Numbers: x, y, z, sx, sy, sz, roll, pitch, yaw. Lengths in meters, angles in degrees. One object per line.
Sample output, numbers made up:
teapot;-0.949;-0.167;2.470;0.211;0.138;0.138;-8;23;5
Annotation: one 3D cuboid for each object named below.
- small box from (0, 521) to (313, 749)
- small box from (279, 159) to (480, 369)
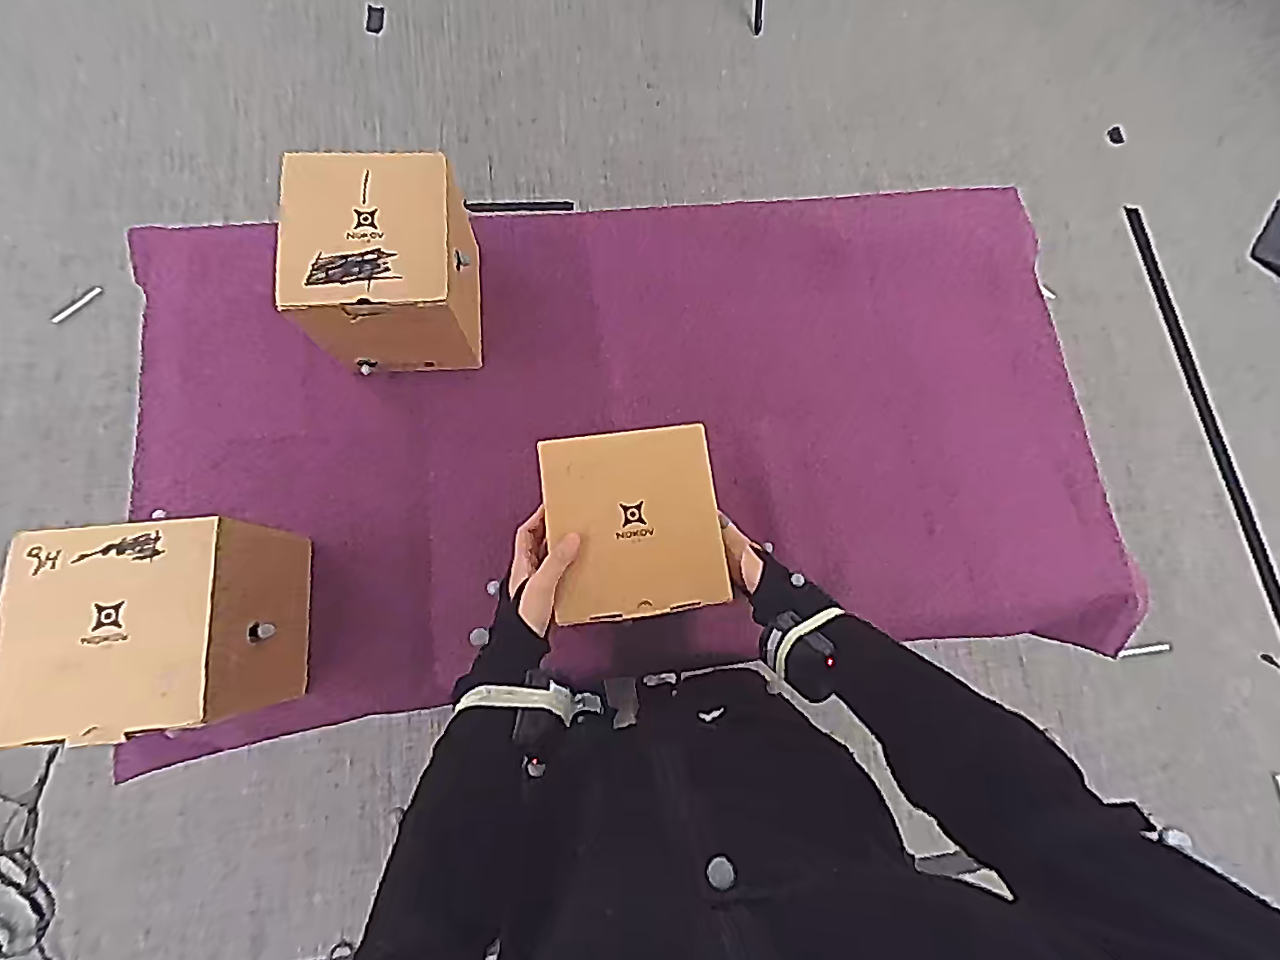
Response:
small box;-0.449;0.142;0.533;0.168;0.176;0.179;-4;78;-6
small box;-0.286;-0.237;0.632;0.168;0.176;0.179;-4;78;-6
